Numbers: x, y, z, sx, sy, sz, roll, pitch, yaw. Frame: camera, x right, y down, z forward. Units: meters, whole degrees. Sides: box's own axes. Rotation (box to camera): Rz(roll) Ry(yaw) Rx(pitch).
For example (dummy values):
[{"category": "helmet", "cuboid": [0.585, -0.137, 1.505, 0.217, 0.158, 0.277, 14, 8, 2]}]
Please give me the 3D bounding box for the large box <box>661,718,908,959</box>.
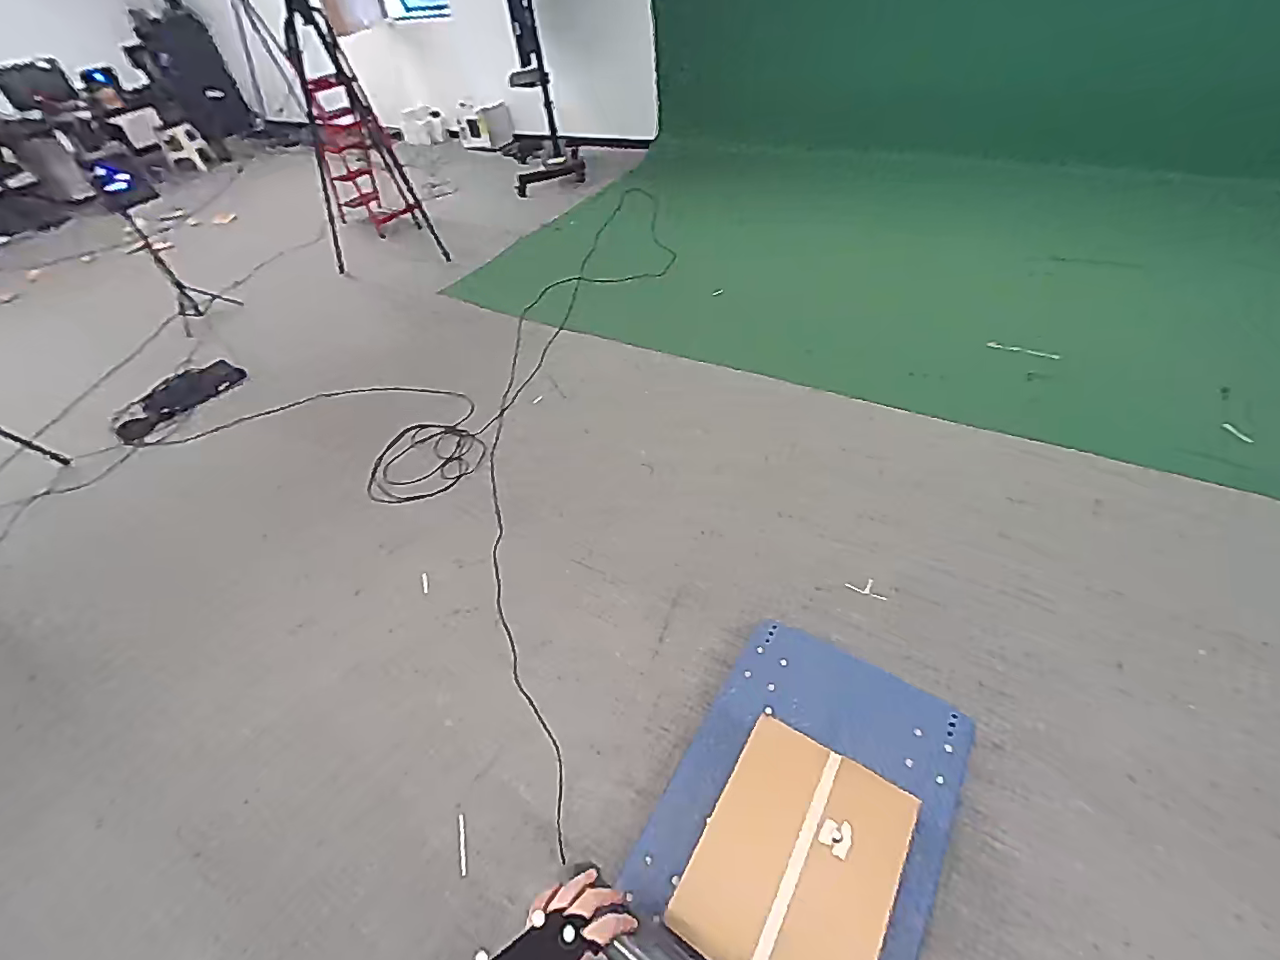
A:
[{"category": "large box", "cuboid": [0.278, 0.775, 1.056, 0.320, 0.320, 0.408, 22, 52, 26]}]
